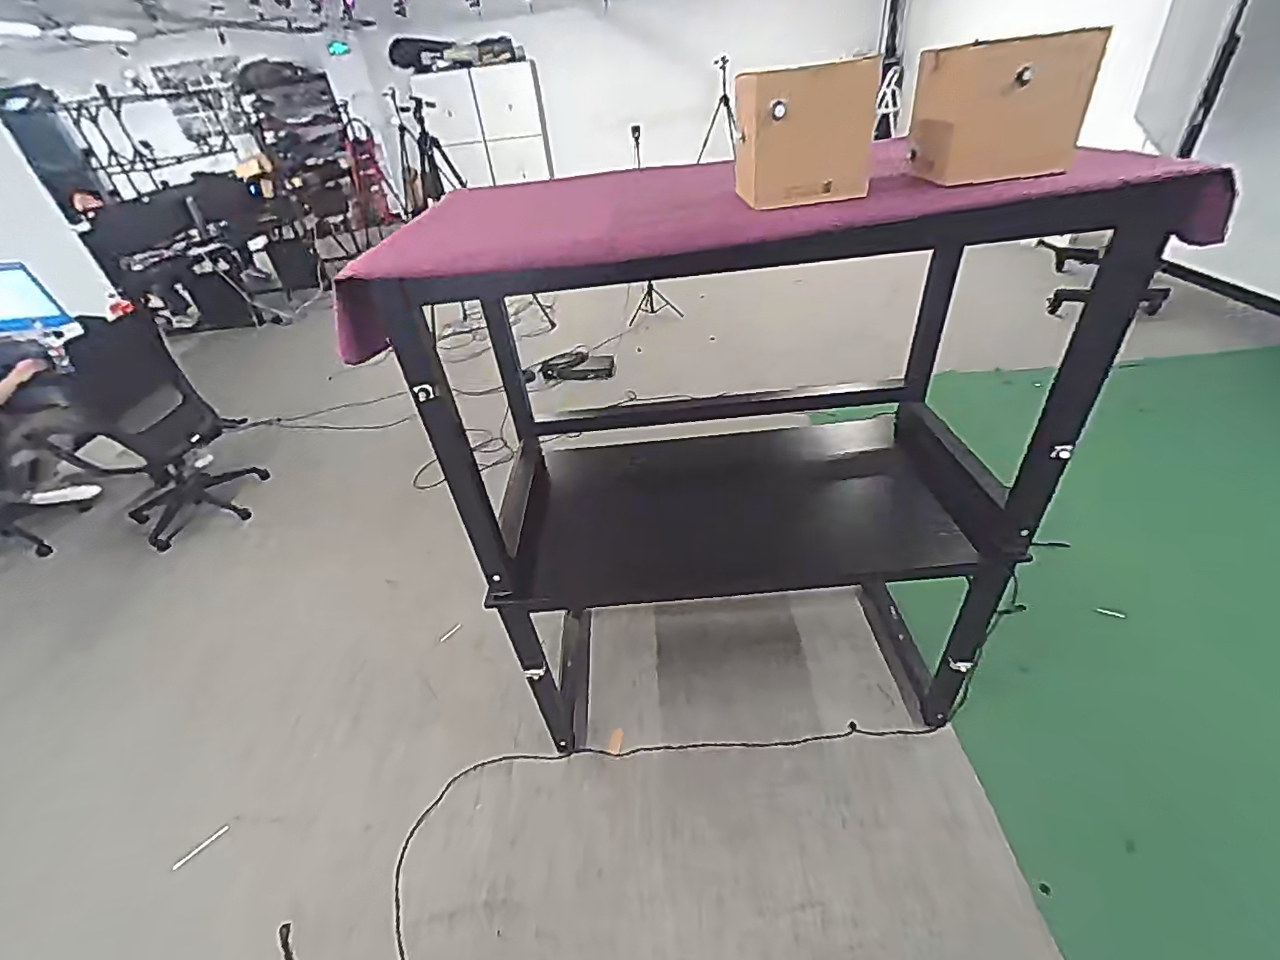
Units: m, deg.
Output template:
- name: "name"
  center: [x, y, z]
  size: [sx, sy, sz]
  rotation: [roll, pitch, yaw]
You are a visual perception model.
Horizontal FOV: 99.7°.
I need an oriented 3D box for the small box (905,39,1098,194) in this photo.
- name: "small box"
  center: [0.523, -0.543, 0.818]
  size: [0.179, 0.176, 0.168]
  rotation: [-5, 36, 3]
